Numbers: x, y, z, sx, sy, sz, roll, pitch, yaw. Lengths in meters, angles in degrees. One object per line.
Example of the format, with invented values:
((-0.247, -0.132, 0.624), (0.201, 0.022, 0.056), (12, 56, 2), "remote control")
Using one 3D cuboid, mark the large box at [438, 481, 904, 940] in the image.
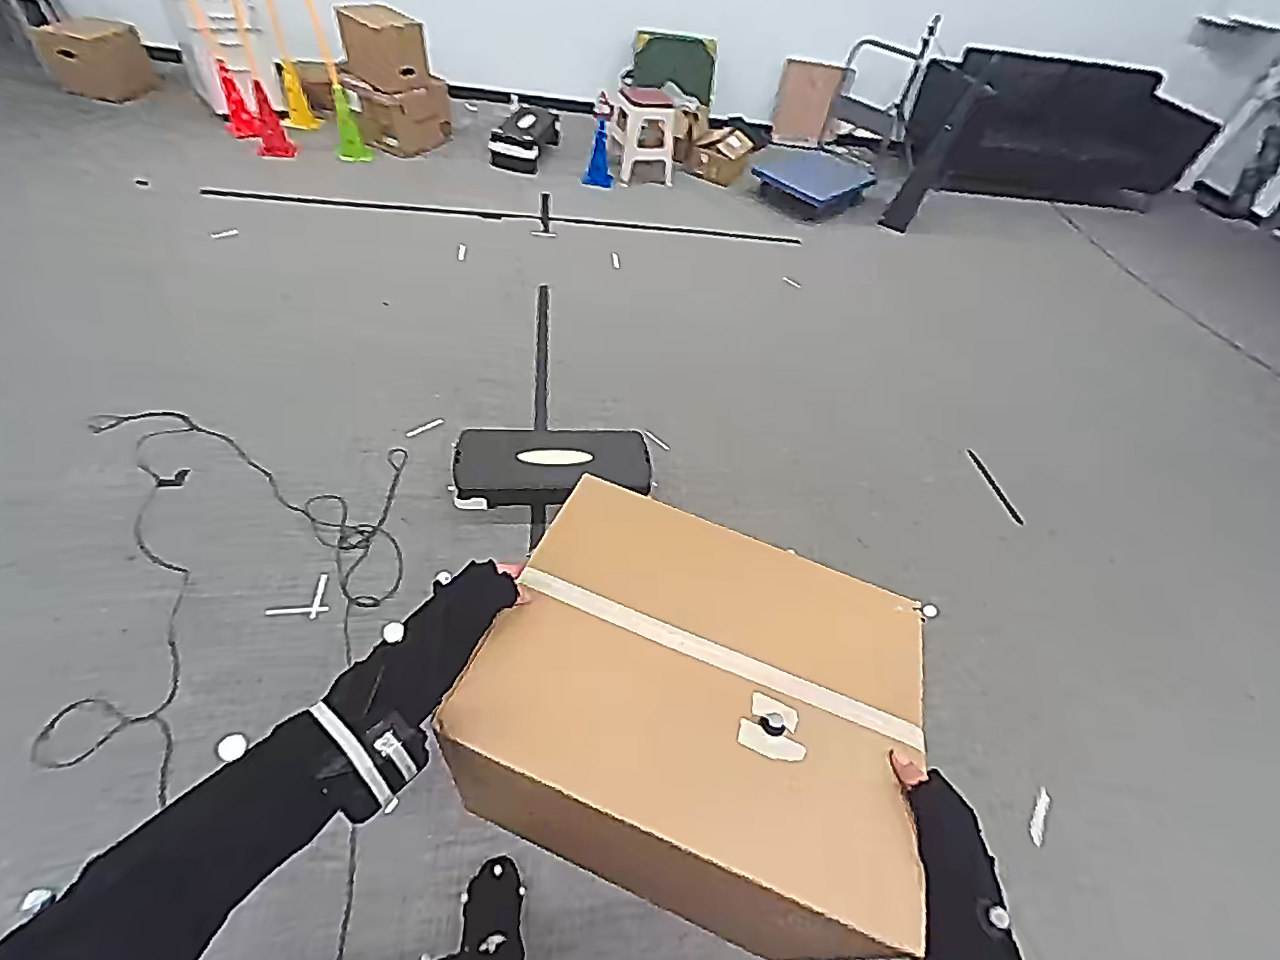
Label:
((0.036, 0.264, 0.637), (0.408, 0.320, 0.320), (21, 48, 7), "large box")
